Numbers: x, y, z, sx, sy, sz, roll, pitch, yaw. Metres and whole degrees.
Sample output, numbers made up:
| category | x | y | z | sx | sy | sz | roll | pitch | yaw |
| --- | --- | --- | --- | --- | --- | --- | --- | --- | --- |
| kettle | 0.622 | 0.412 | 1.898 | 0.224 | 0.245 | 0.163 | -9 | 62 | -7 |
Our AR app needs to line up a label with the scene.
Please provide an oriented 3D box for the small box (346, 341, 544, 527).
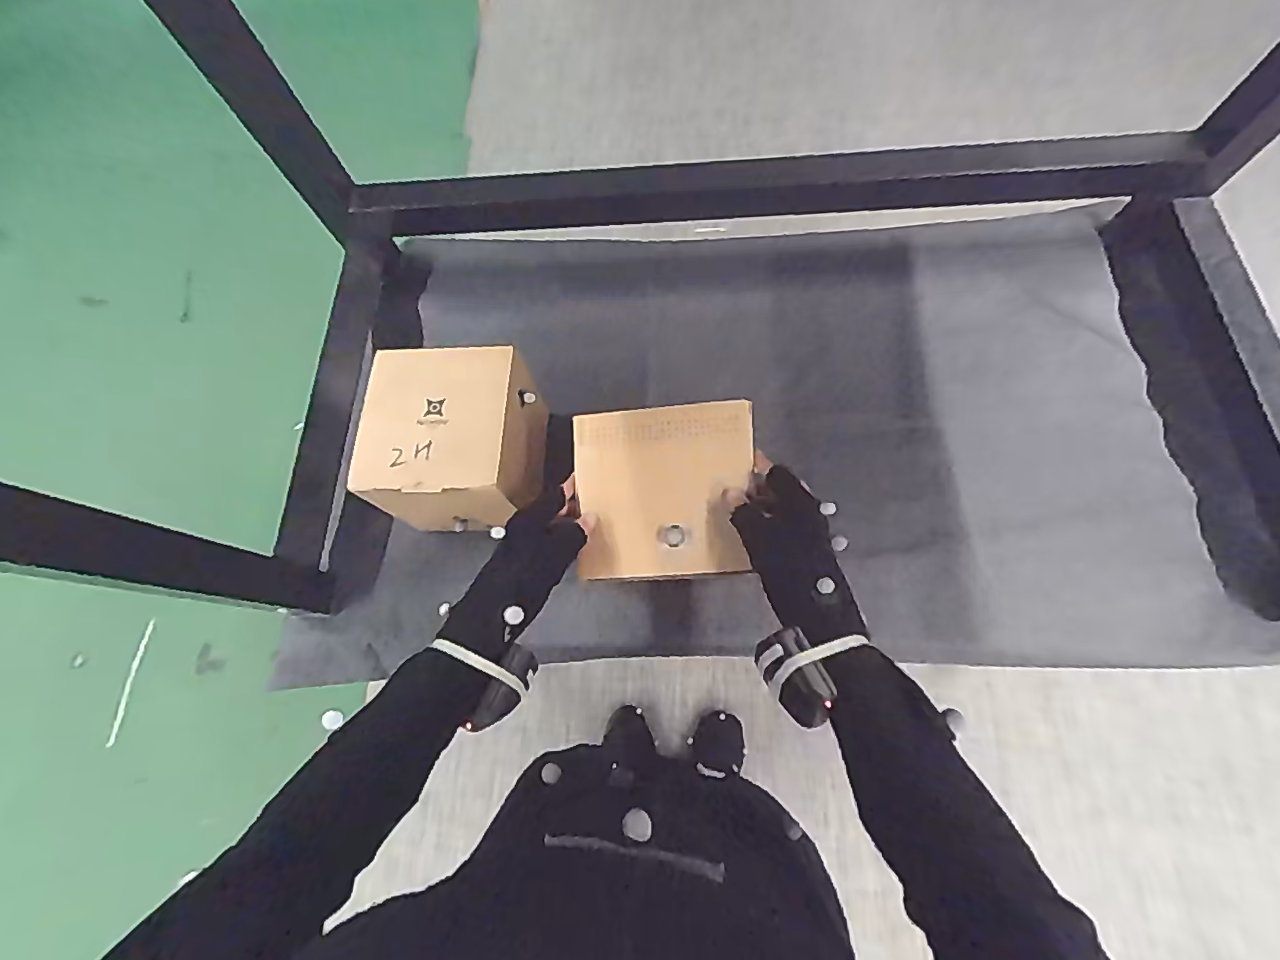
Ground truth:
| category | x | y | z | sx | sy | sz | roll | pitch | yaw |
| --- | --- | --- | --- | --- | --- | --- | --- | --- | --- |
| small box | -0.221 | -0.050 | 0.668 | 0.168 | 0.176 | 0.179 | -1 | 69 | 5 |

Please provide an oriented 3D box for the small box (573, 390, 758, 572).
| category | x | y | z | sx | sy | sz | roll | pitch | yaw |
| --- | --- | --- | --- | --- | --- | --- | --- | --- | --- |
| small box | 0.029 | 0.010 | 0.595 | 0.179 | 0.168 | 0.176 | -5 | 80 | 7 |
